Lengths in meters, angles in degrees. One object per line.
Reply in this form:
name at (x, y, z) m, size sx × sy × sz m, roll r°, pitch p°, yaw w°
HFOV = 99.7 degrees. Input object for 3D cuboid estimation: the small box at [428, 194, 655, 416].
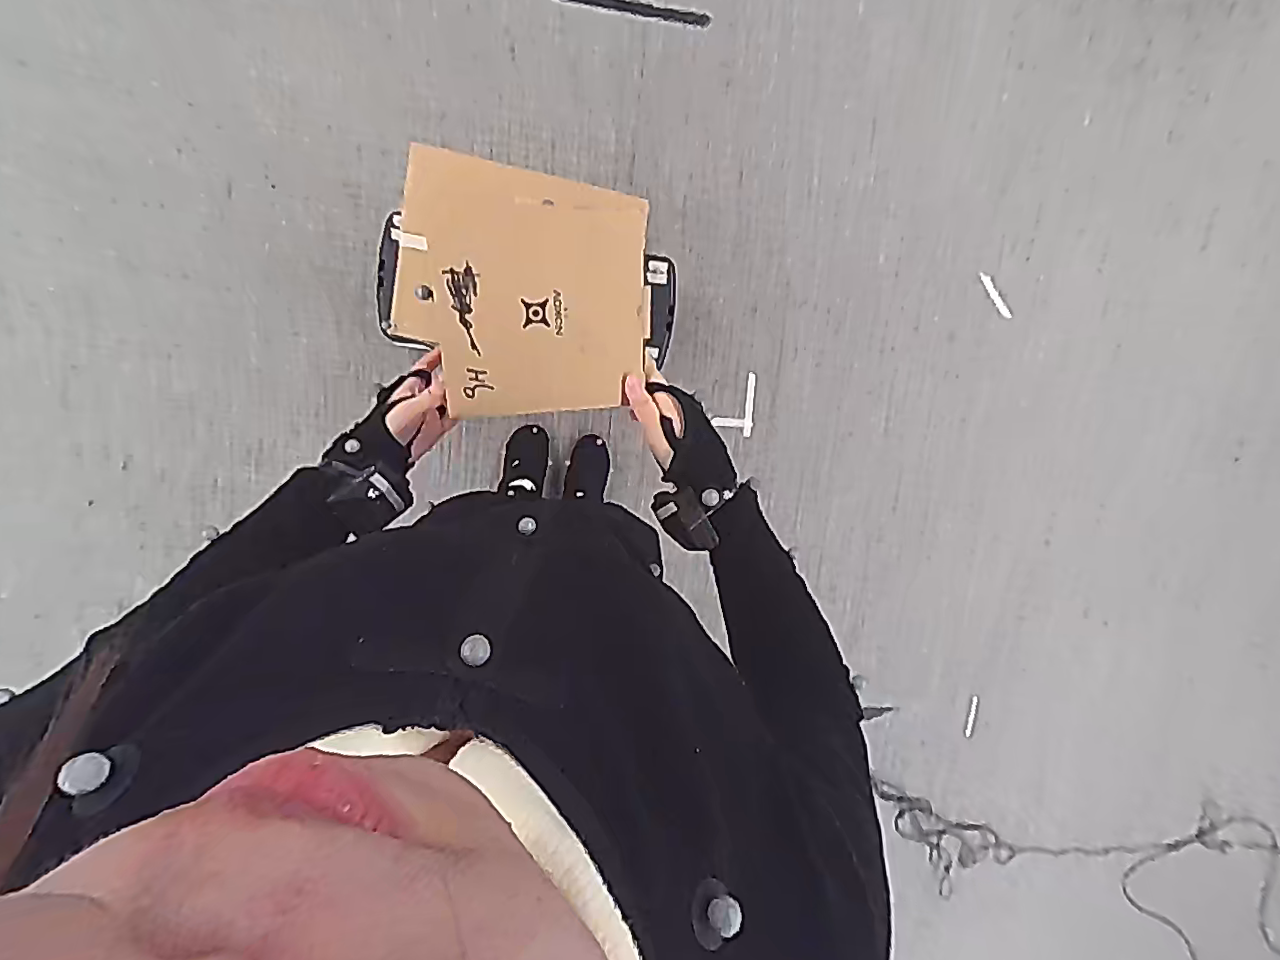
small box at (-0.095, -0.160, 0.509) m, size 0.179 × 0.176 × 0.168 m, roll -6°, pitch 108°, yaw -16°

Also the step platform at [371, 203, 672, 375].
step platform at (-0.266, -0.420, 1.300) m, size 0.684 × 0.204 × 0.286 m, roll 12°, pitch 97°, yaw -8°

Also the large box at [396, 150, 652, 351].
large box at (-0.210, -0.384, 1.070) m, size 0.408 × 0.320 × 0.320 m, roll 10°, pitch 97°, yaw -7°
